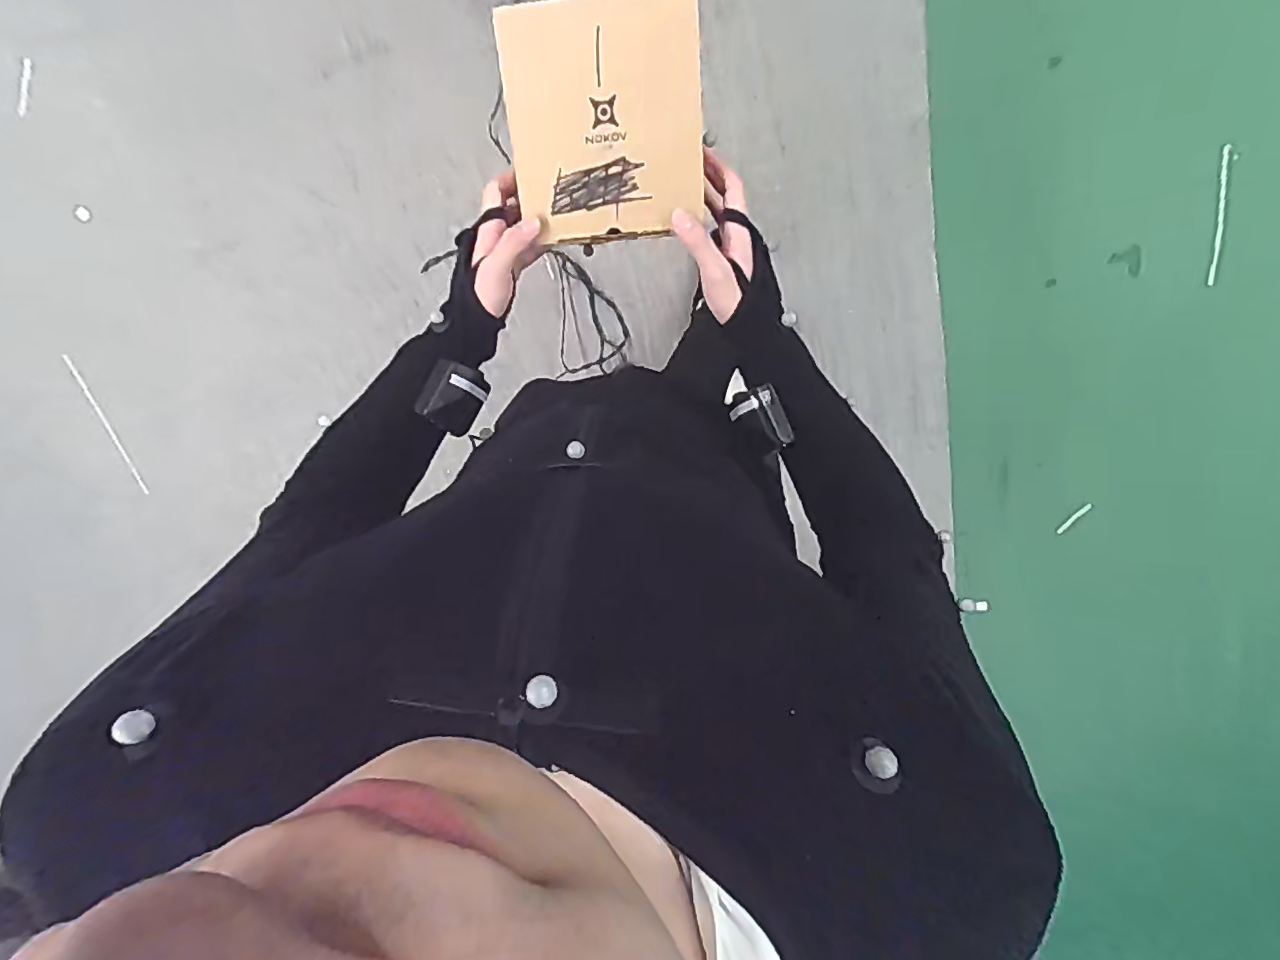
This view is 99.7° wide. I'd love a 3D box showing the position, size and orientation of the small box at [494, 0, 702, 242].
[{"bbox_3d":[-0.023,-0.332,0.526,0.168,0.176,0.179,-2,112,6],"label":"small box"}]
